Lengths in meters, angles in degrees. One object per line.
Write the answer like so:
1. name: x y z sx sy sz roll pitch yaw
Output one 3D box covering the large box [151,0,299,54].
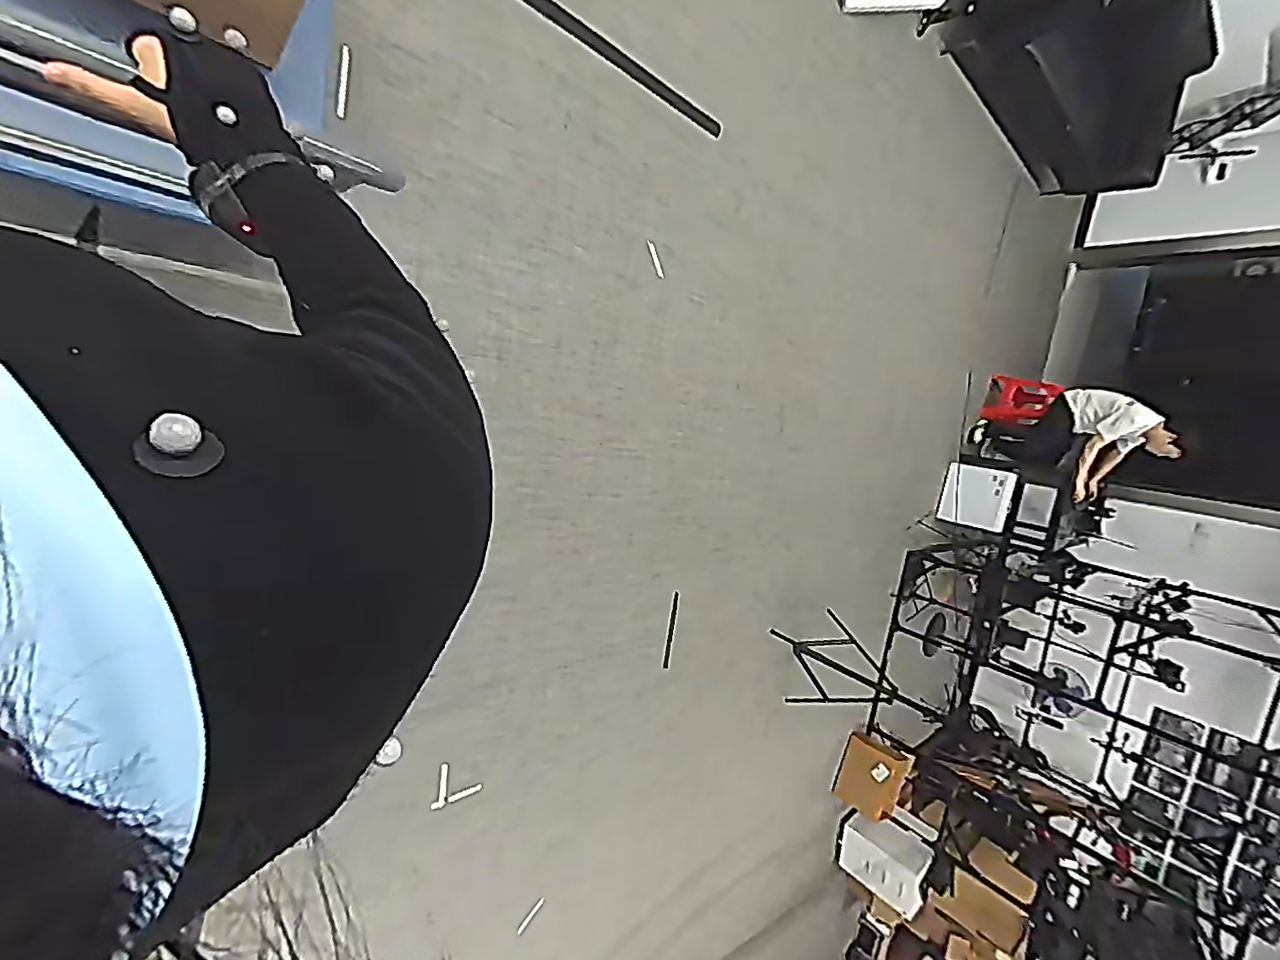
1. large box: -0.697 -0.898 0.733 0.408 0.320 0.320 4 98 -42
